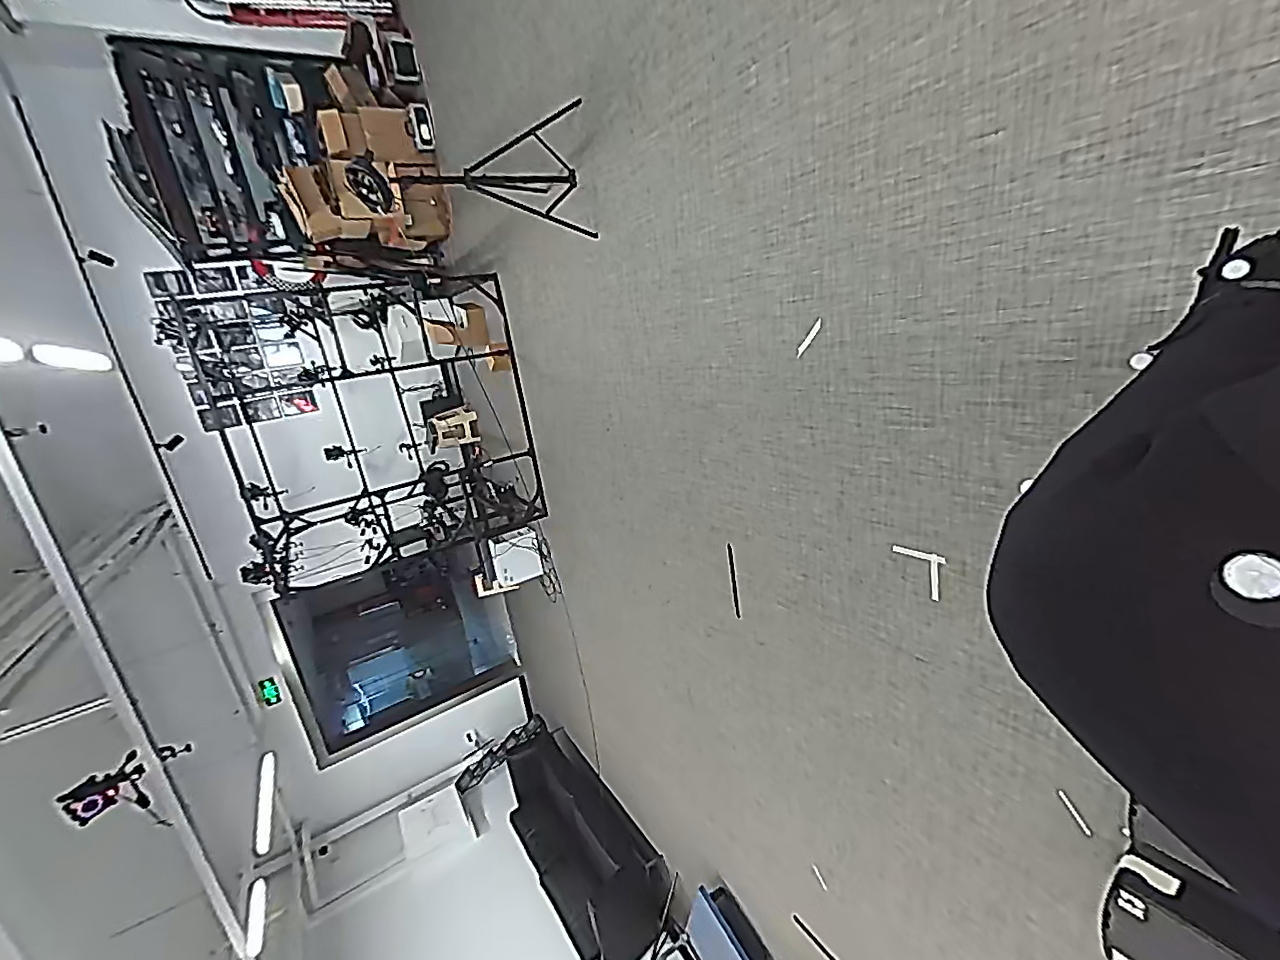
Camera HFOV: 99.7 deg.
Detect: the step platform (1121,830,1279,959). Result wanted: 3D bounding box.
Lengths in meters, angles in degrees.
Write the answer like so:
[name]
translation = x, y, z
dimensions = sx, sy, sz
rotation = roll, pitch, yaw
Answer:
[step platform]
translation = 1.405, 1.062, 1.065
dimensions = 0.684, 0.204, 0.286
rotation = 17, 120, 58
